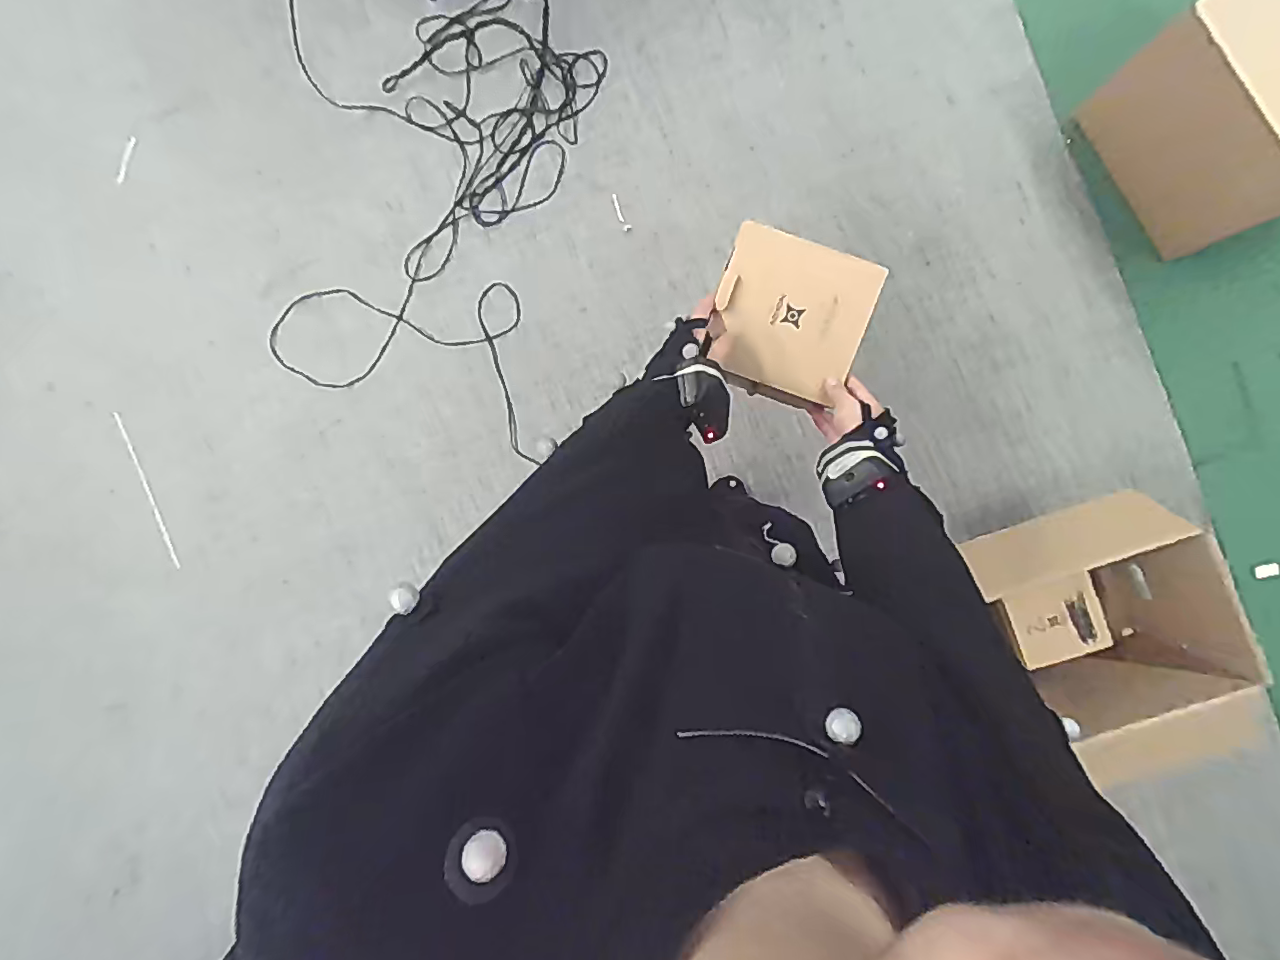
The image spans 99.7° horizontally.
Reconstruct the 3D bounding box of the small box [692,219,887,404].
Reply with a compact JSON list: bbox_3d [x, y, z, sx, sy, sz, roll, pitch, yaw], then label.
[{"bbox_3d":[0.173,-0.199,0.691,0.179,0.176,0.168,18,99,0],"label":"small box"}]
